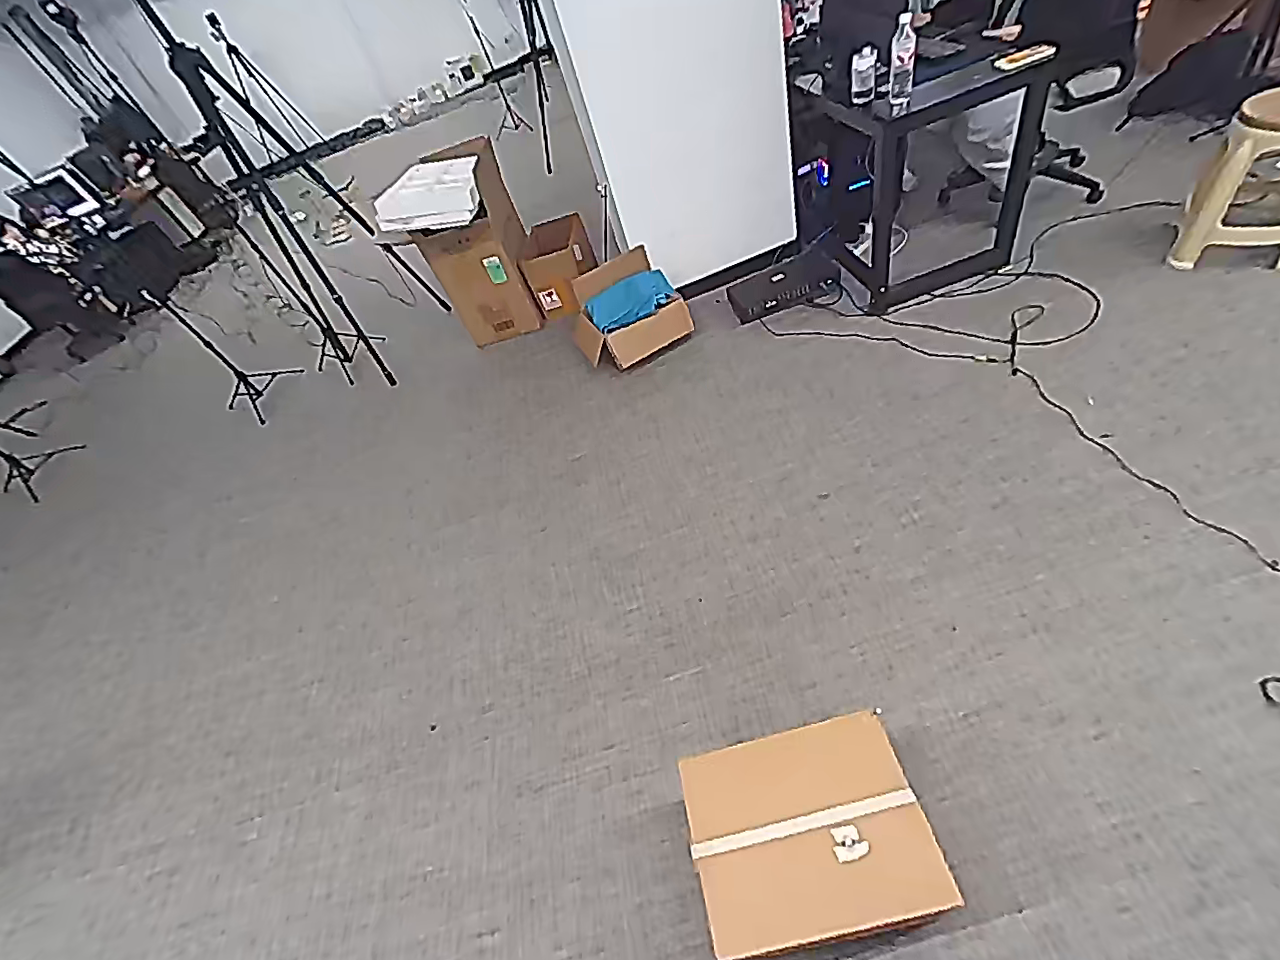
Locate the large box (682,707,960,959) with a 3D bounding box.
[{"bbox_3d":[0.334,0.709,1.077,0.408,0.320,0.320,-18,47,4],"label":"large box"}]
